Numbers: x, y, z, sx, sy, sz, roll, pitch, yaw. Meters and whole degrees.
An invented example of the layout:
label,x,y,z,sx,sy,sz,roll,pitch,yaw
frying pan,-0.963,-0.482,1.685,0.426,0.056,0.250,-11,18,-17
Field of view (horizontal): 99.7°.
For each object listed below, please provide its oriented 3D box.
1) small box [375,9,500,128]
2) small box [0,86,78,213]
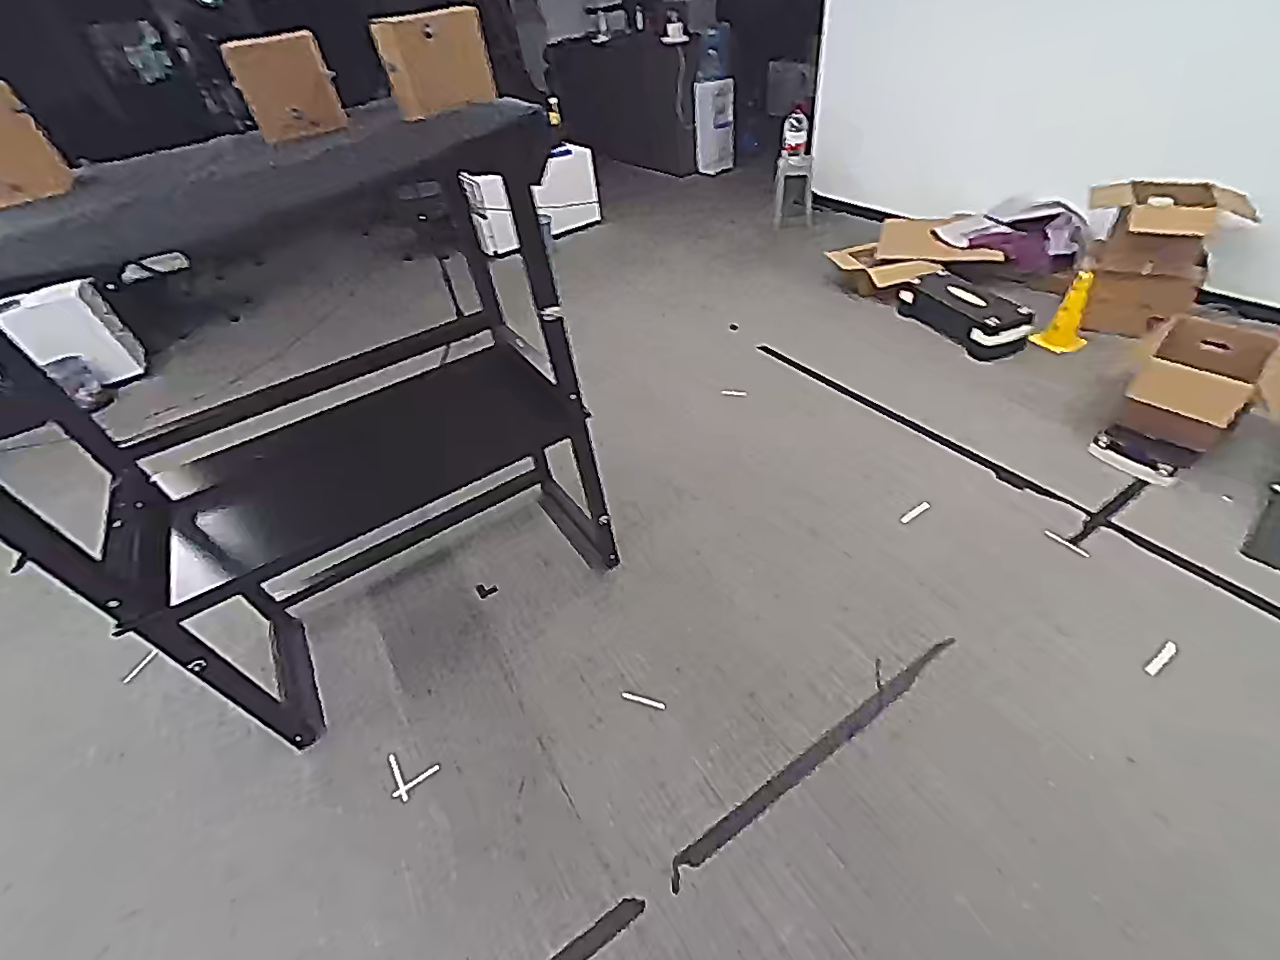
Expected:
label,x,y,z,sx,sy,sz,roll,pitch,yaw
small box,-0.410,-0.835,1.104,0.168,0.176,0.179,-28,45,-18
small box,-1.189,-0.598,0.985,0.168,0.176,0.179,-30,48,-21
